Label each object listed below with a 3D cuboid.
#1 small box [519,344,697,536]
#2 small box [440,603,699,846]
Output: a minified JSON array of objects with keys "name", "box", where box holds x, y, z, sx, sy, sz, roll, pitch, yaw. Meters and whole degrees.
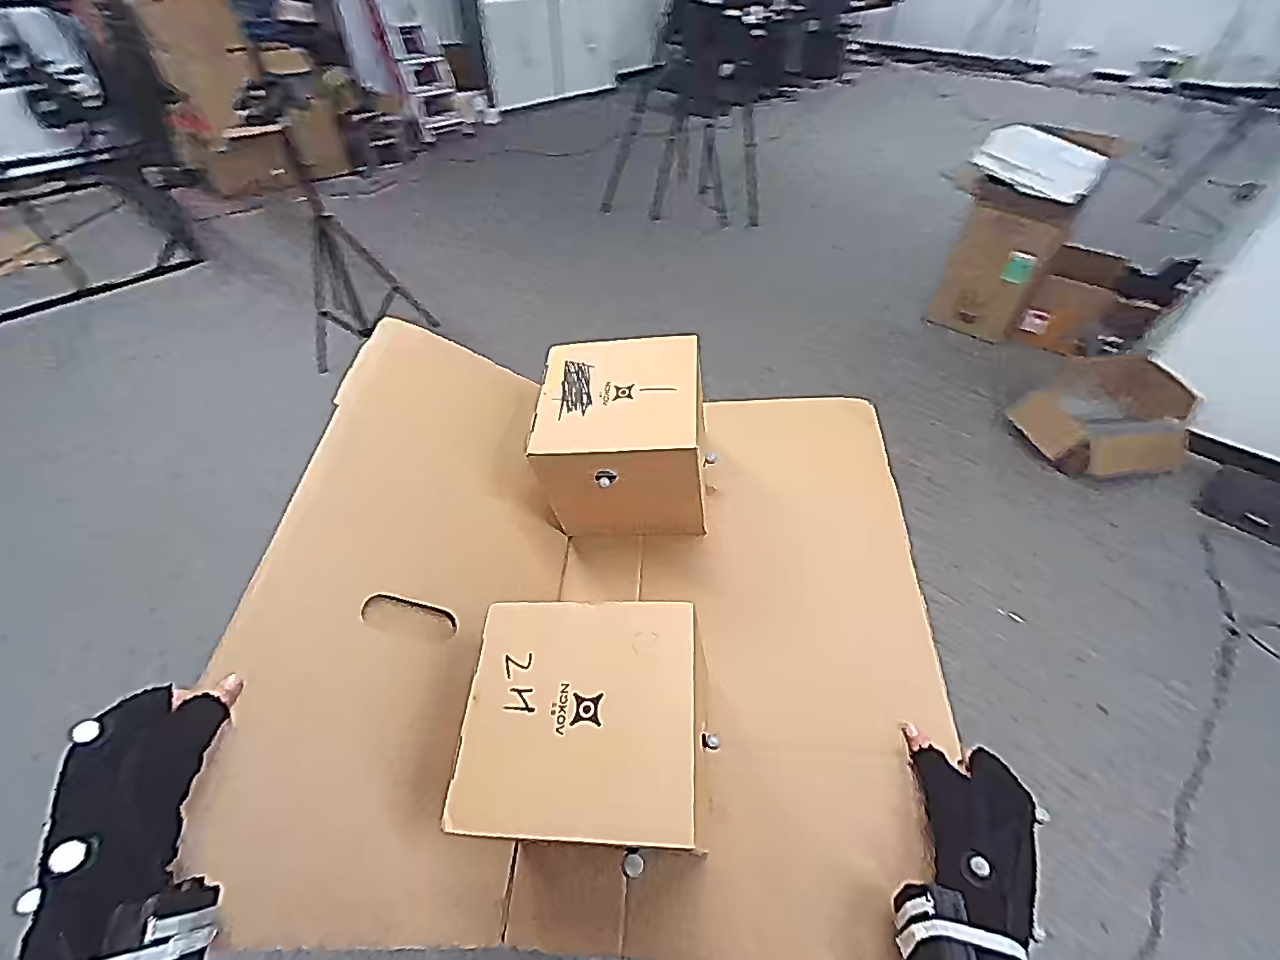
[{"name":"small box","box":[-0.025,-0.041,0.656,0.179,0.176,0.168,-2,55,8]},{"name":"small box","box":[-0.039,0.217,0.475,0.179,0.176,0.168,-3,54,9]}]
